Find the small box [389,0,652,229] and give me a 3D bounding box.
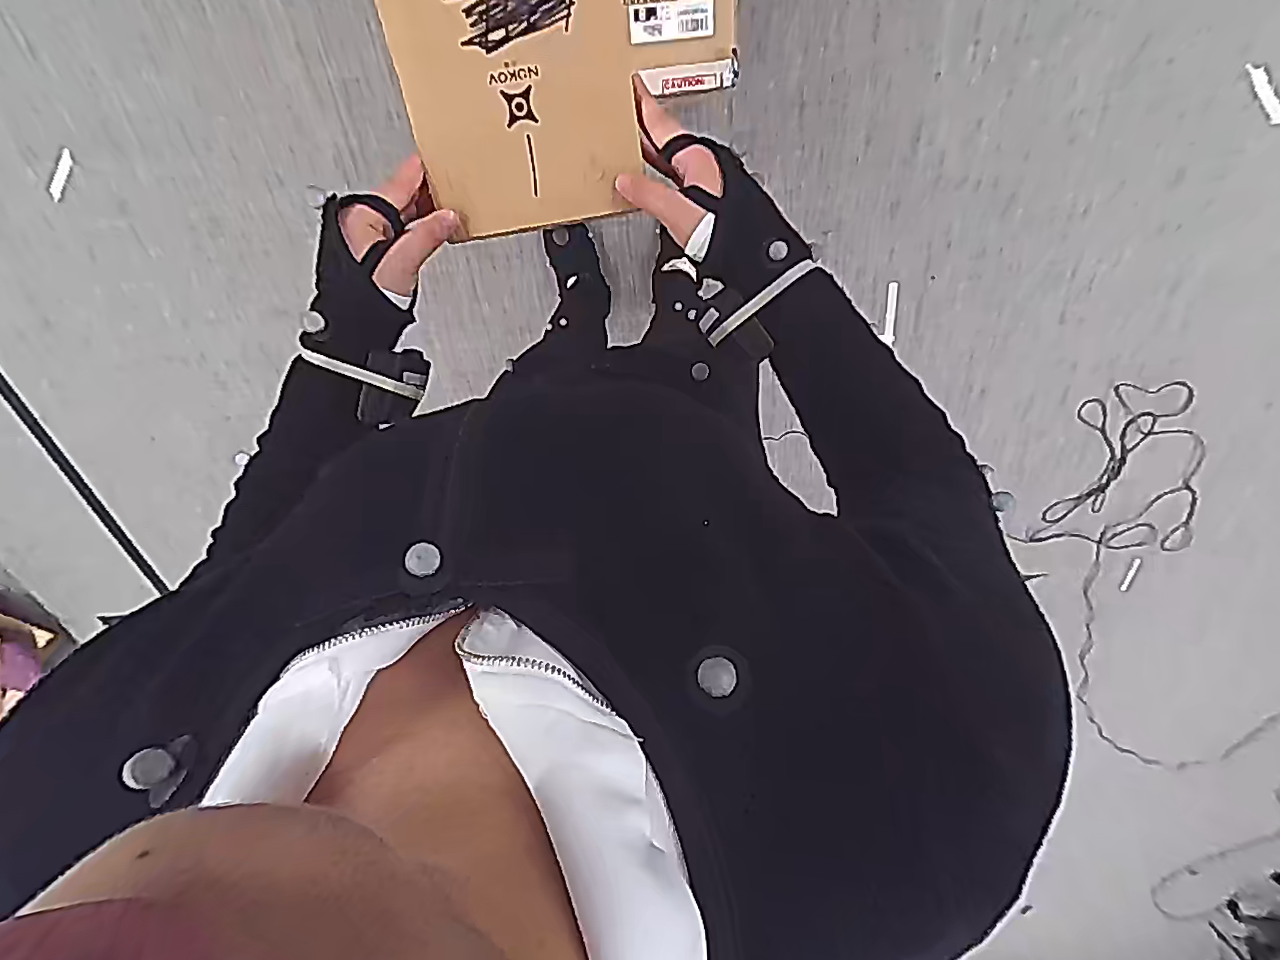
[{"bbox_3d":[-0.084,-0.321,0.461,0.168,0.176,0.179,-8,116,4],"label":"small box"}]
